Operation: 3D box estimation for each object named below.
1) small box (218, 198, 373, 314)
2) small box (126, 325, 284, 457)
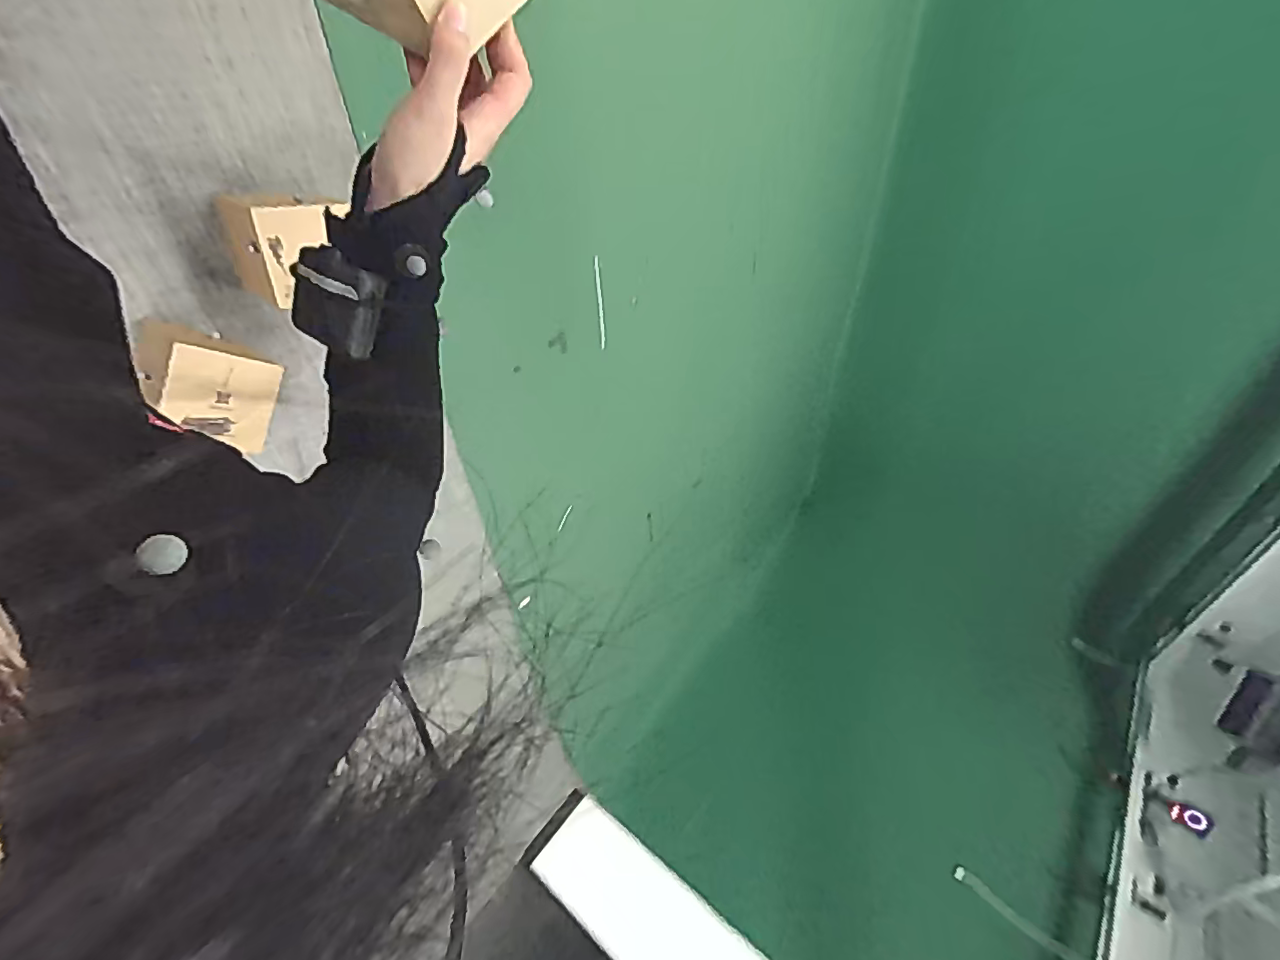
[{"bbox_3d":[-0.639,-0.425,1.012,0.179,0.176,0.168,-31,137,-43],"label":"small box"},{"bbox_3d":[-0.793,-0.159,0.983,0.168,0.176,0.179,9,104,-58],"label":"small box"}]
